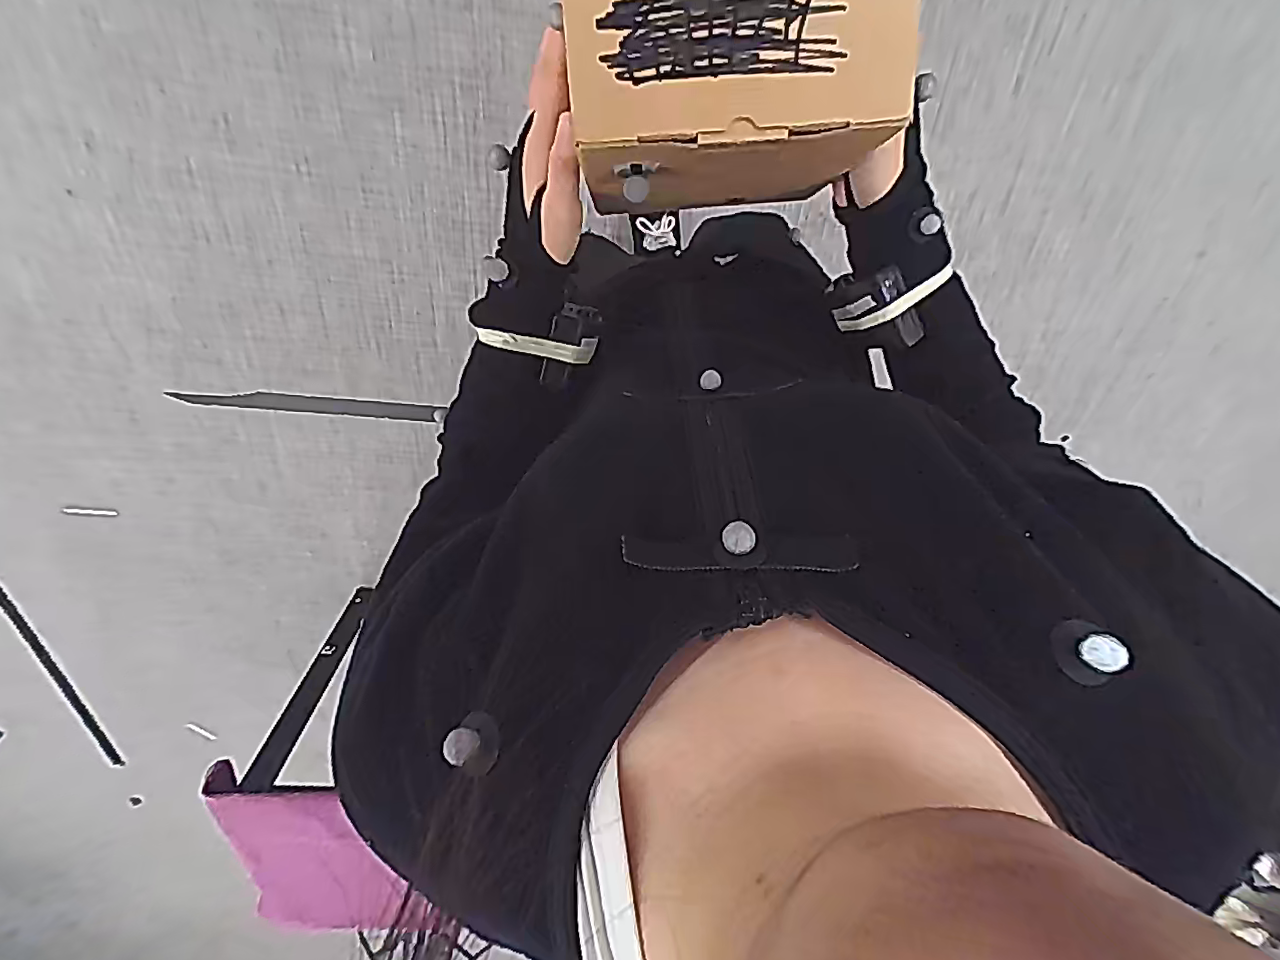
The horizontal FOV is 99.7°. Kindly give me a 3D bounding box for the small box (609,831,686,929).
[{"bbox_3d":[0.012,0.954,1.264,0.168,0.176,0.179,1,121,-3],"label":"small box"}]

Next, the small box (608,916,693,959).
[{"bbox_3d":[0.019,1.039,1.127,0.179,0.176,0.168,-1,123,-3],"label":"small box"}]
